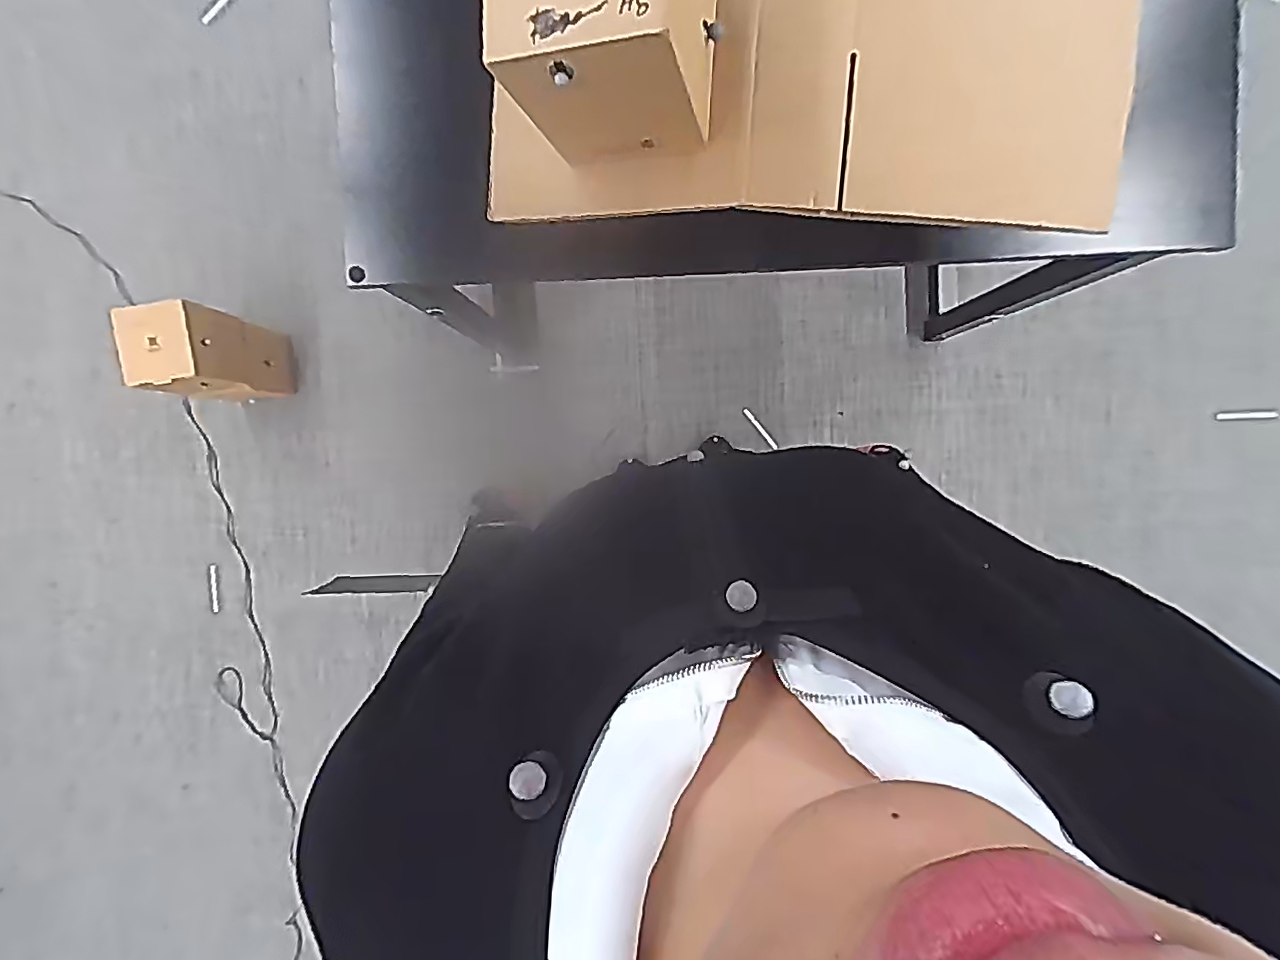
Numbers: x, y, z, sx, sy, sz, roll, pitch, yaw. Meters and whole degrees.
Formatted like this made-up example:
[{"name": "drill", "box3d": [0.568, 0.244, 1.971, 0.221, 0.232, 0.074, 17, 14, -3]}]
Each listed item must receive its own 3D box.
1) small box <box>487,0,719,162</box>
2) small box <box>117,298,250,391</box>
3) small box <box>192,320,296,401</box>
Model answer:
[{"name": "small box", "box3d": [-0.023, -0.438, 0.510, 0.168, 0.176, 0.179, 4, 93, 18]}, {"name": "small box", "box3d": [-1.066, -0.310, 1.280, 0.168, 0.176, 0.179, -9, 92, 2]}, {"name": "small box", "box3d": [-1.058, -0.313, 1.443, 0.168, 0.176, 0.179, -5, 94, 3]}]
